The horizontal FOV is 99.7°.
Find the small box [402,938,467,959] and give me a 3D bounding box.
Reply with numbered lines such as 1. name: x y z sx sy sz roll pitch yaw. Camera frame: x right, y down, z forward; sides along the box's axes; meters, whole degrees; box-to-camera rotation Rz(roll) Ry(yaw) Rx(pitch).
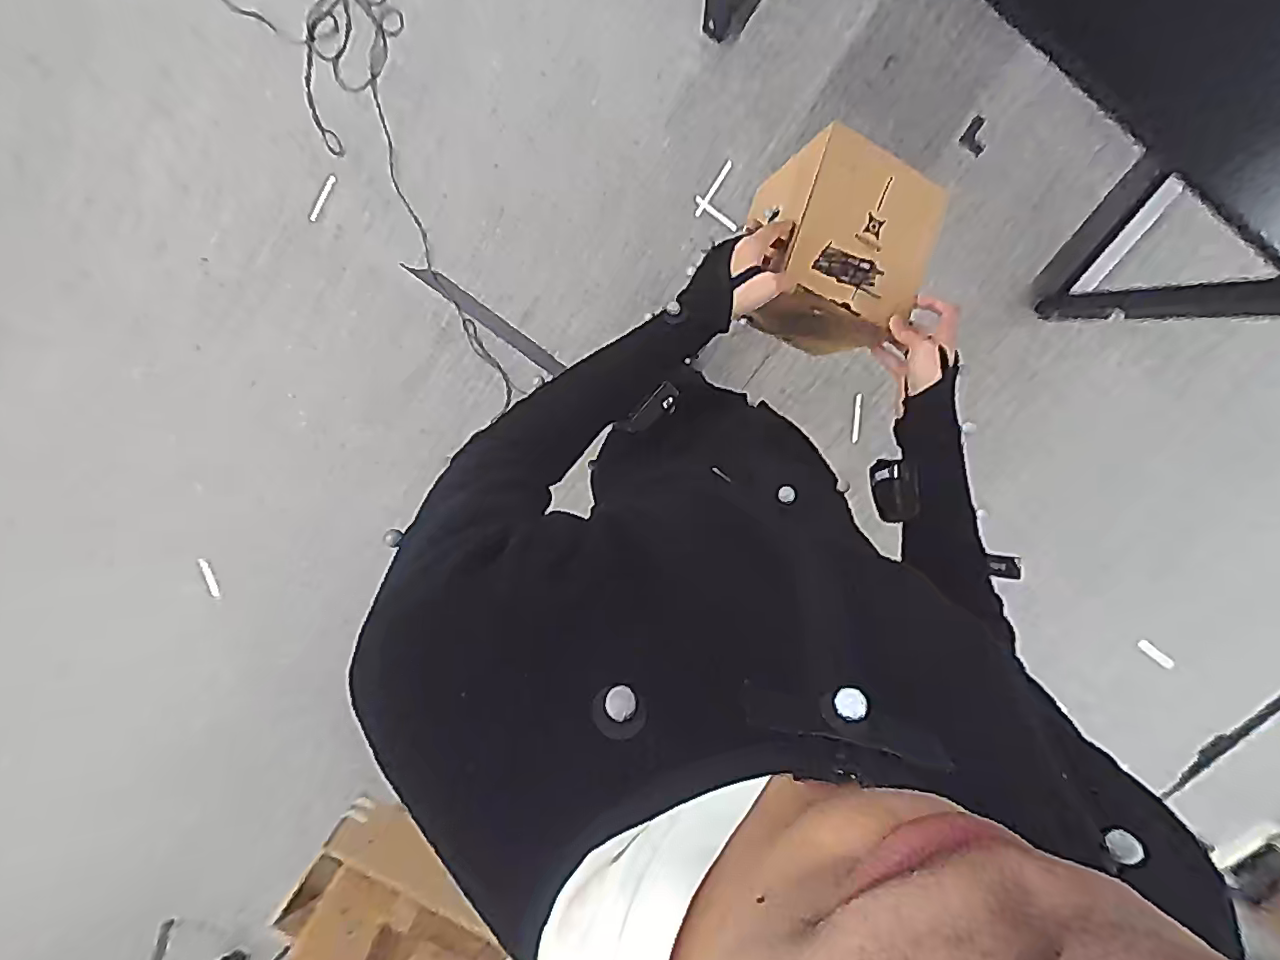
1. small box: -0.574 1.367 1.419 0.168 0.176 0.179 35 106 -8

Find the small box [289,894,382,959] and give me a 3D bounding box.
1. small box: -0.797 1.222 1.383 0.168 0.176 0.179 32 105 -7

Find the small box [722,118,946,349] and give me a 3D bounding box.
1. small box: 0.220 -0.274 0.655 0.168 0.176 0.179 19 89 -17
